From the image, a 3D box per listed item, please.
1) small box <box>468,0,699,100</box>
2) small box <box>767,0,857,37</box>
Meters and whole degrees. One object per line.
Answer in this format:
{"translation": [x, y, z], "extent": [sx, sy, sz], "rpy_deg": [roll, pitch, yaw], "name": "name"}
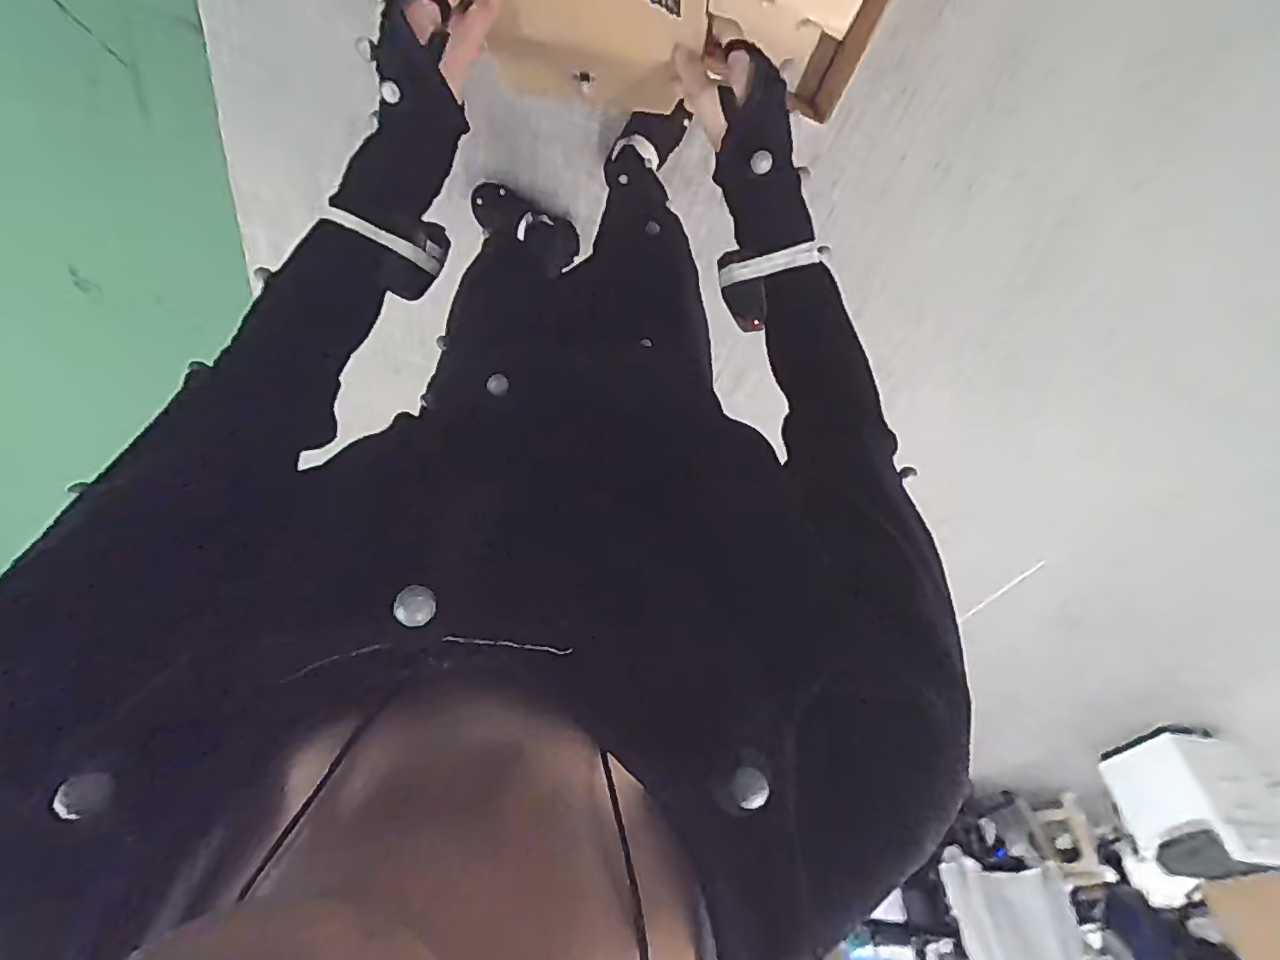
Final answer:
{"translation": [-0.044, -0.448, 0.461], "extent": [0.179, 0.176, 0.168], "rpy_deg": [3, 112, -7], "name": "small box"}
{"translation": [0.232, -0.737, 0.717], "extent": [0.168, 0.176, 0.179], "rpy_deg": [18, 133, -12], "name": "small box"}
